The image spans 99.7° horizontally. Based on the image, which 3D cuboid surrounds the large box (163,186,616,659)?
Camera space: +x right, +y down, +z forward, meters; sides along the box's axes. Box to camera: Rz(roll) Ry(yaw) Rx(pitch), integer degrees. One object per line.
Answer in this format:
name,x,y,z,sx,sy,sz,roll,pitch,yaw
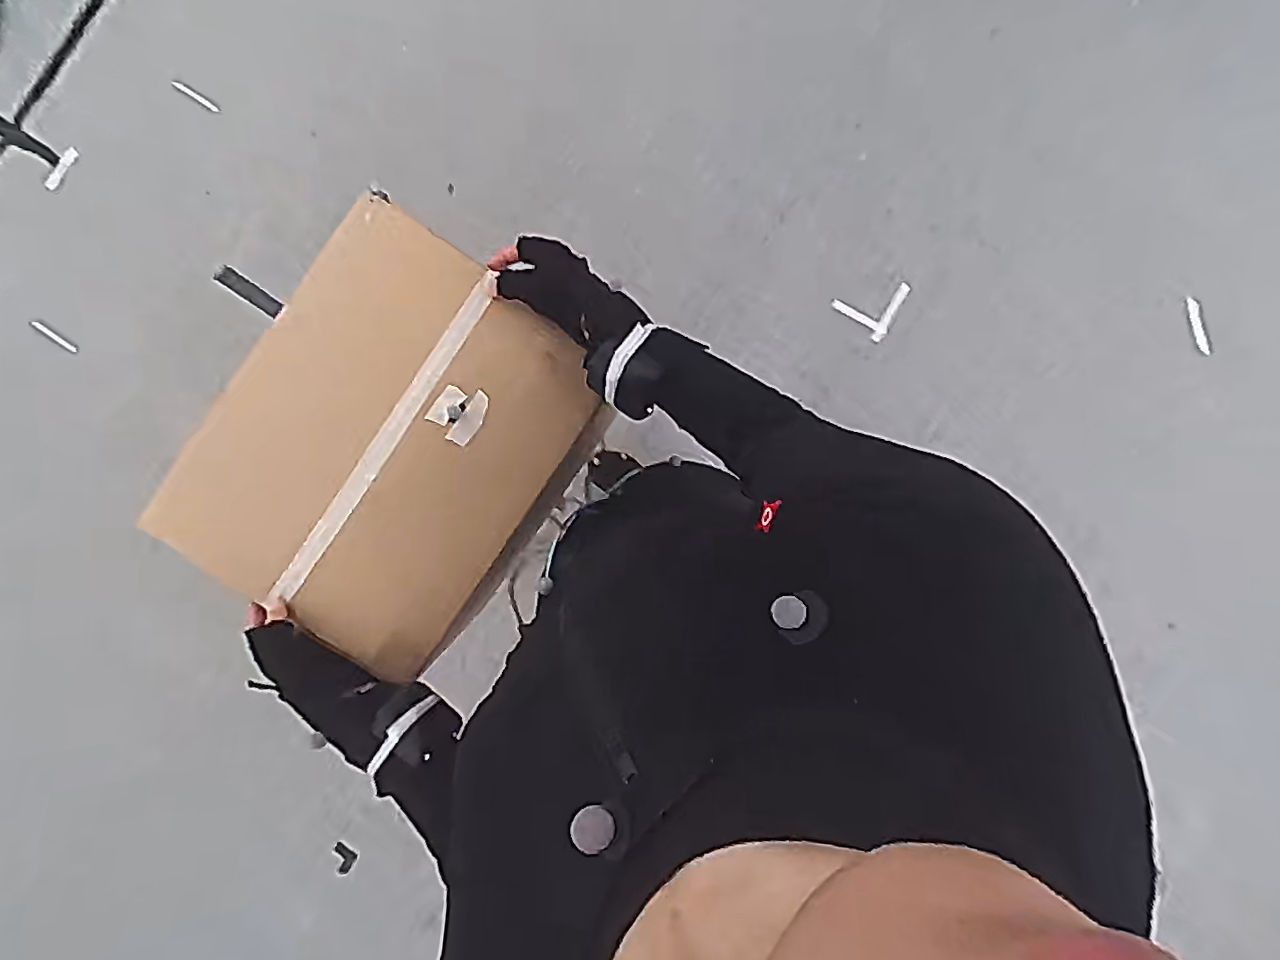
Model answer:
large box,-0.264,-0.058,0.709,0.320,0.320,0.408,34,89,-3
